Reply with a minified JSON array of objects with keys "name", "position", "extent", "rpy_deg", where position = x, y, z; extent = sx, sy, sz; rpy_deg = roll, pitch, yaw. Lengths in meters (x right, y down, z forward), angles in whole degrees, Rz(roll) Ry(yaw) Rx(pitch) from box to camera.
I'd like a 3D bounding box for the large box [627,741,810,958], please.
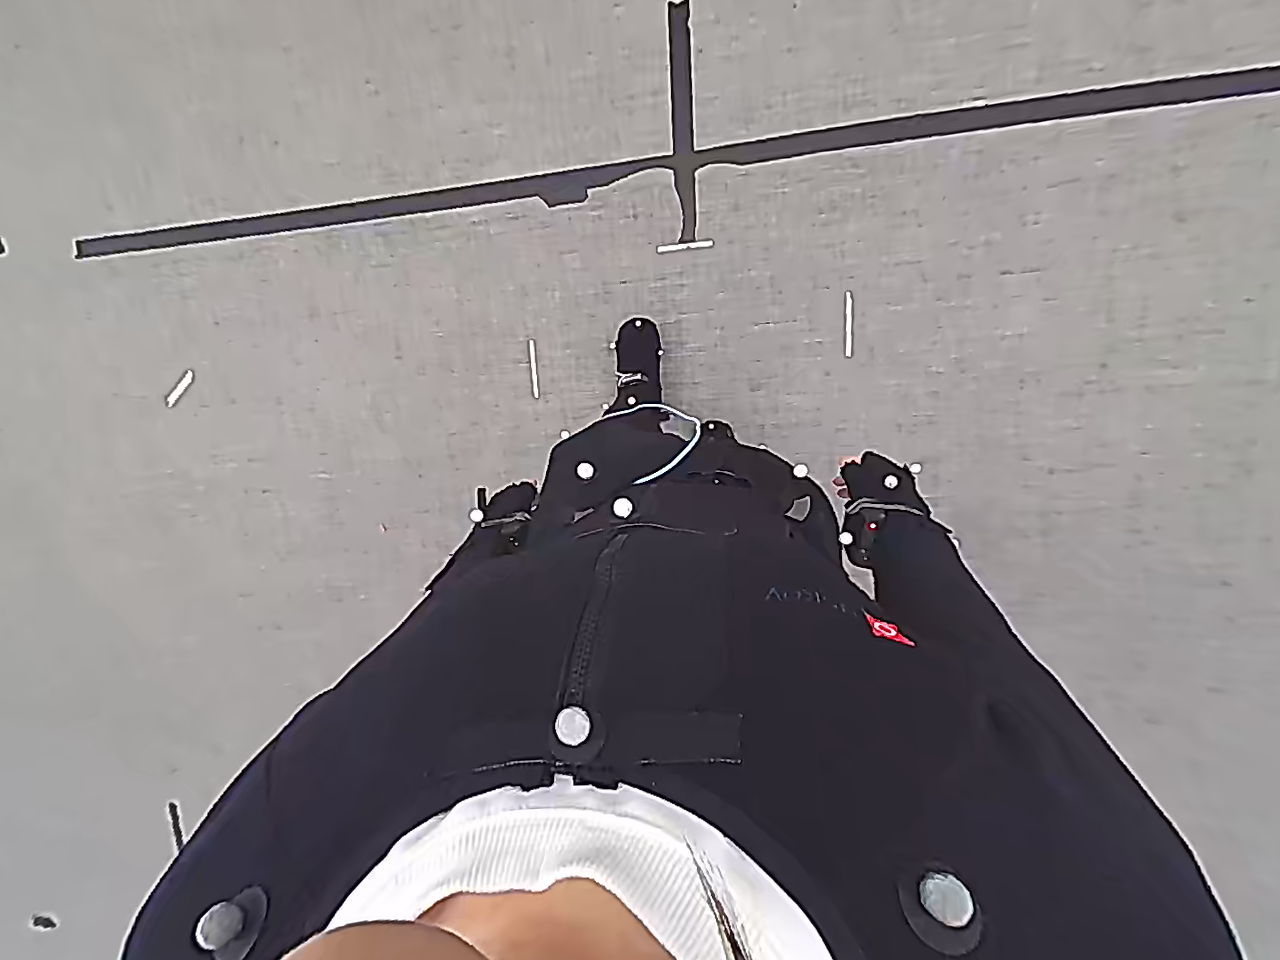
[{"name":"large box","position":[0.194,0.955,1.439],"extent":[0.408,0.320,0.320],"rpy_deg":[9,101,5]}]
